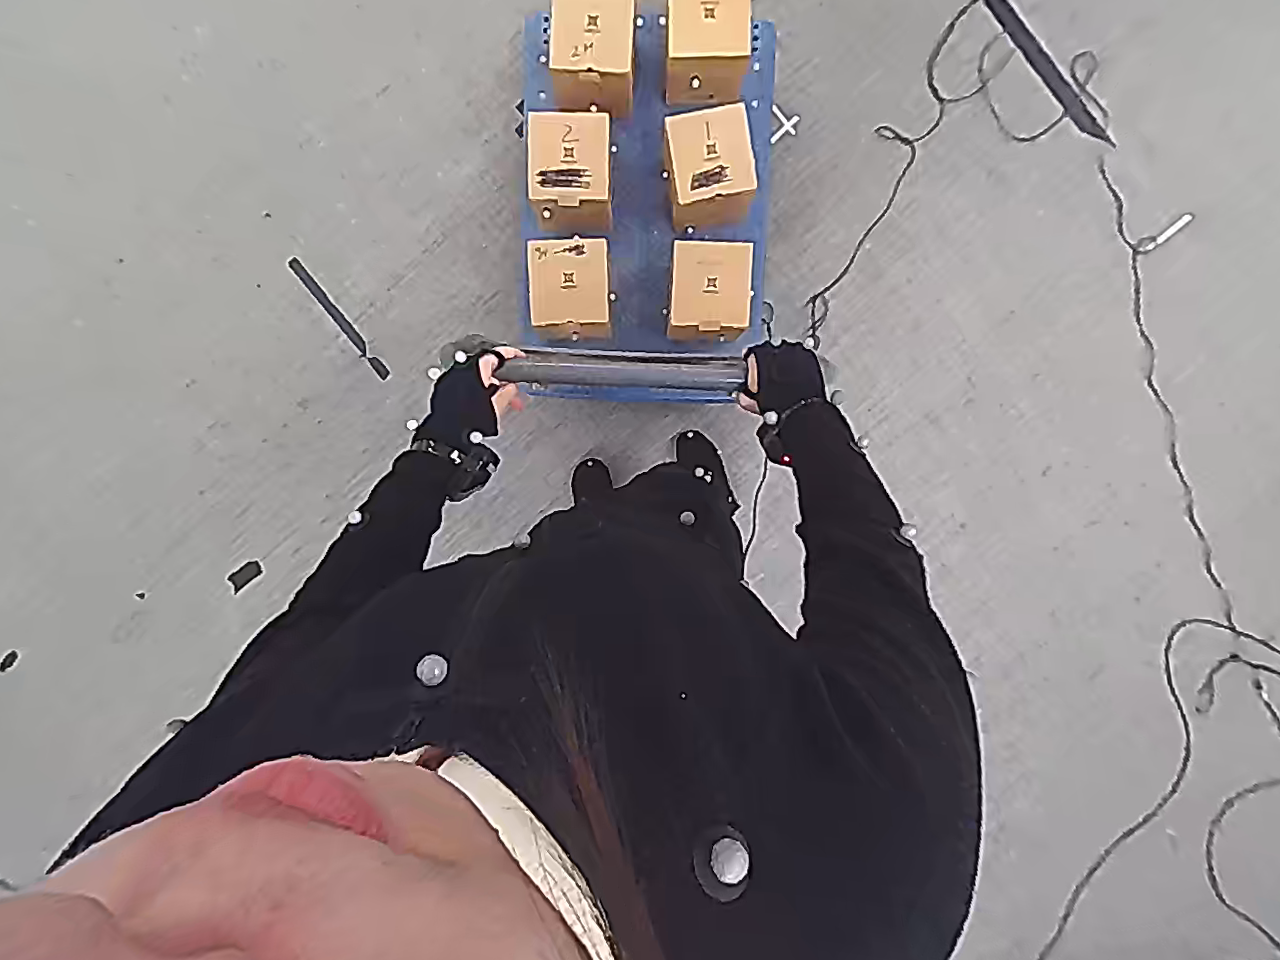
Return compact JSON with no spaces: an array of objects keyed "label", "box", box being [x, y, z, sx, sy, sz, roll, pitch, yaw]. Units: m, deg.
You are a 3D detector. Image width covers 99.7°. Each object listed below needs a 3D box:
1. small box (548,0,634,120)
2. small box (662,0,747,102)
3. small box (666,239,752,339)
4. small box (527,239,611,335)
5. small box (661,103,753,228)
[{"label":"small box","box":[-0.100,-0.916,1.160,0.168,0.176,0.179,4,96,0]},{"label":"small box","box":[0.133,-0.946,1.160,0.168,0.176,0.179,-1,95,0]},{"label":"small box","box":[0.147,-0.417,1.207,0.168,0.176,0.179,3,94,0]},{"label":"small box","box":[-0.151,-0.421,1.205,0.168,0.176,0.179,-2,96,-1]},{"label":"small box","box":[0.142,-0.674,1.183,0.168,0.176,0.179,-10,94,1]}]
